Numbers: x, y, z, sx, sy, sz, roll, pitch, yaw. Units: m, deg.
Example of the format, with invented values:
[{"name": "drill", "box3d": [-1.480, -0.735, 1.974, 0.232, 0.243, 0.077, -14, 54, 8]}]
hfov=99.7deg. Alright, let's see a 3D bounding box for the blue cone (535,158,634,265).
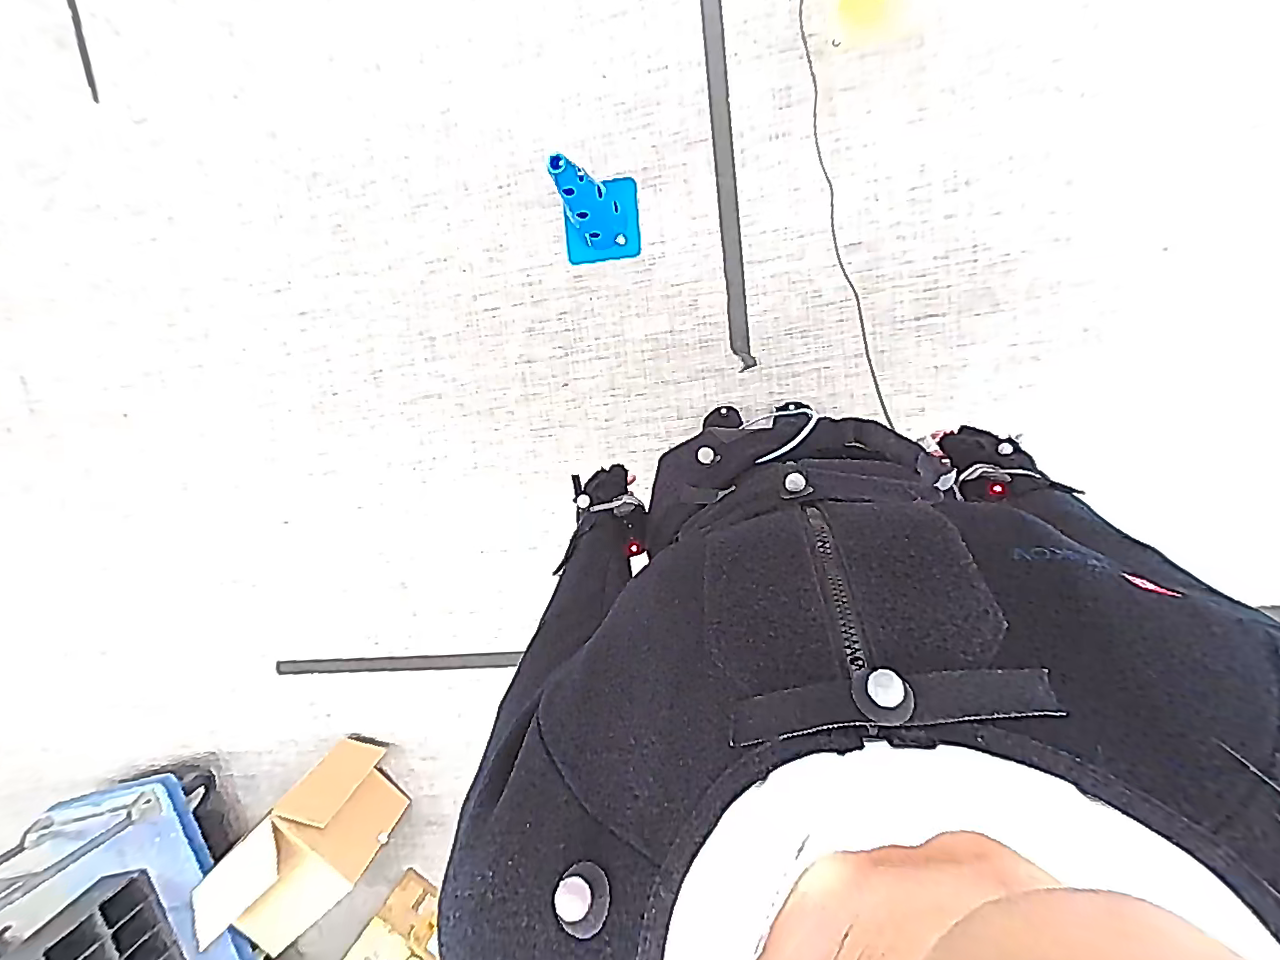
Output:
[{"name": "blue cone", "box3d": [-0.144, -0.643, 1.242, 0.192, 0.380, 0.193, -1, 97, 12]}]
